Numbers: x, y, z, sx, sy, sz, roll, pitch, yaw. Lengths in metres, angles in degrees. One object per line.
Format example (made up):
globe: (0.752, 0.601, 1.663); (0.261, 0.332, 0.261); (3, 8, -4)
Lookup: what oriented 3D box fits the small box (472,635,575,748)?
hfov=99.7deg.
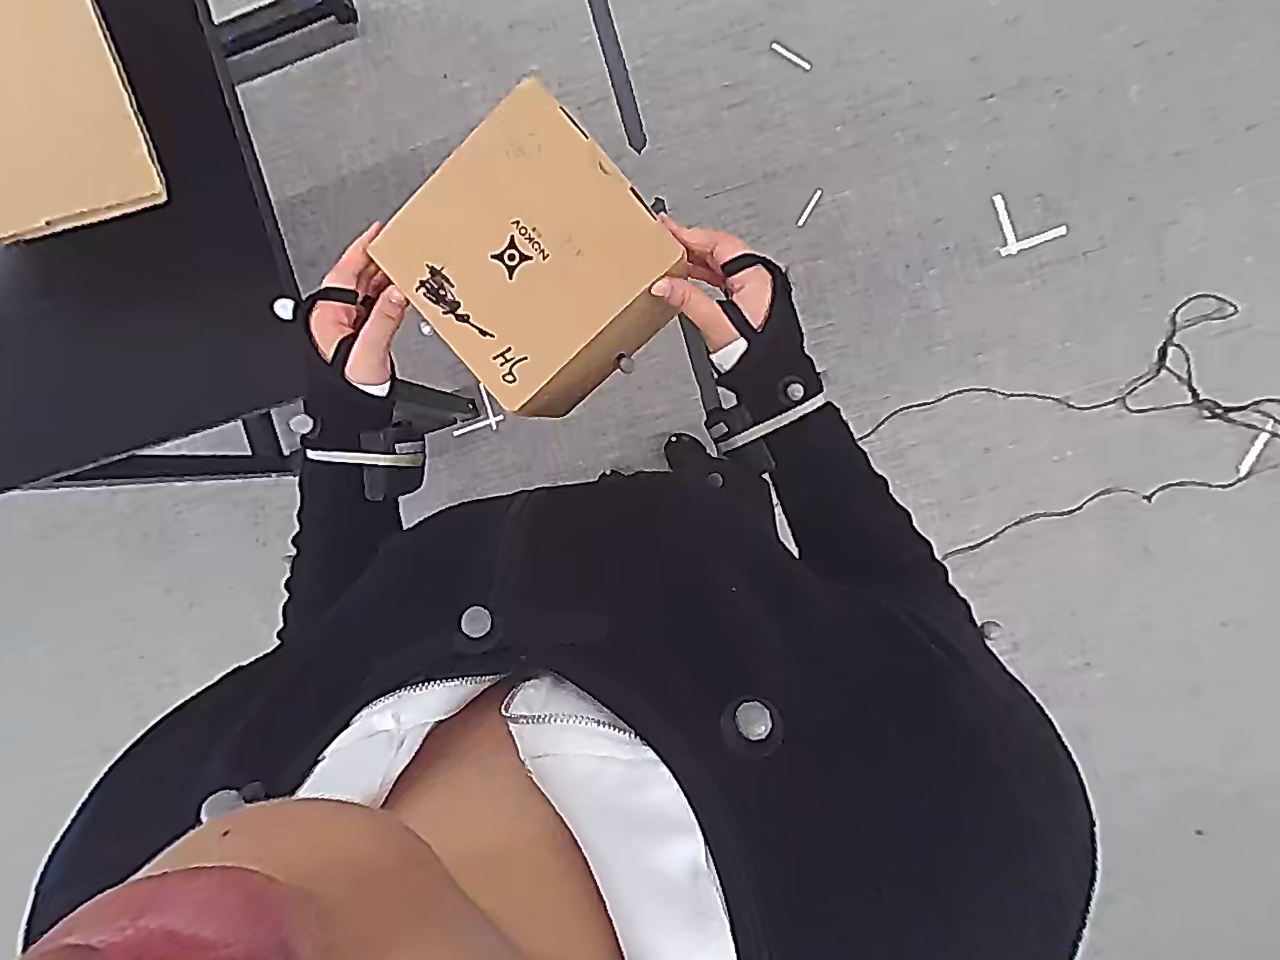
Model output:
small box: (-0.266, 0.496, 1.295); (0.179, 0.176, 0.168); (-23, 91, 5)

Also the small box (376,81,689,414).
small box: (-0.075, -0.175, 0.472); (0.179, 0.176, 0.168); (-41, 89, 7)
